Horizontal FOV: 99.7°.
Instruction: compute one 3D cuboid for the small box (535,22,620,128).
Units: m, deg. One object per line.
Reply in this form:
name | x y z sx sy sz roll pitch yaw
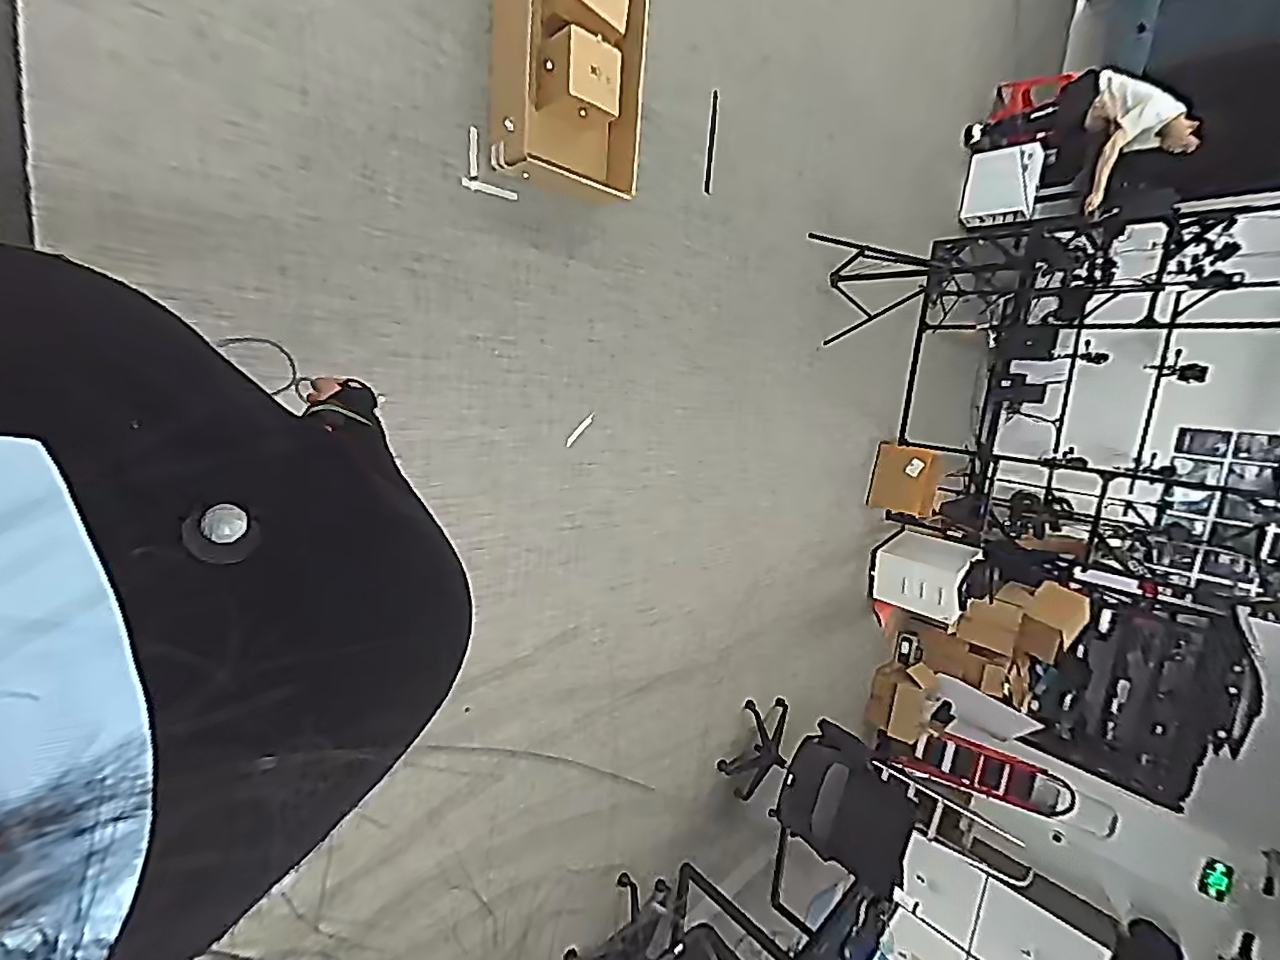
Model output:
small box | -0.181 -1.128 1.526 0.179 0.176 0.168 -7 106 -43
